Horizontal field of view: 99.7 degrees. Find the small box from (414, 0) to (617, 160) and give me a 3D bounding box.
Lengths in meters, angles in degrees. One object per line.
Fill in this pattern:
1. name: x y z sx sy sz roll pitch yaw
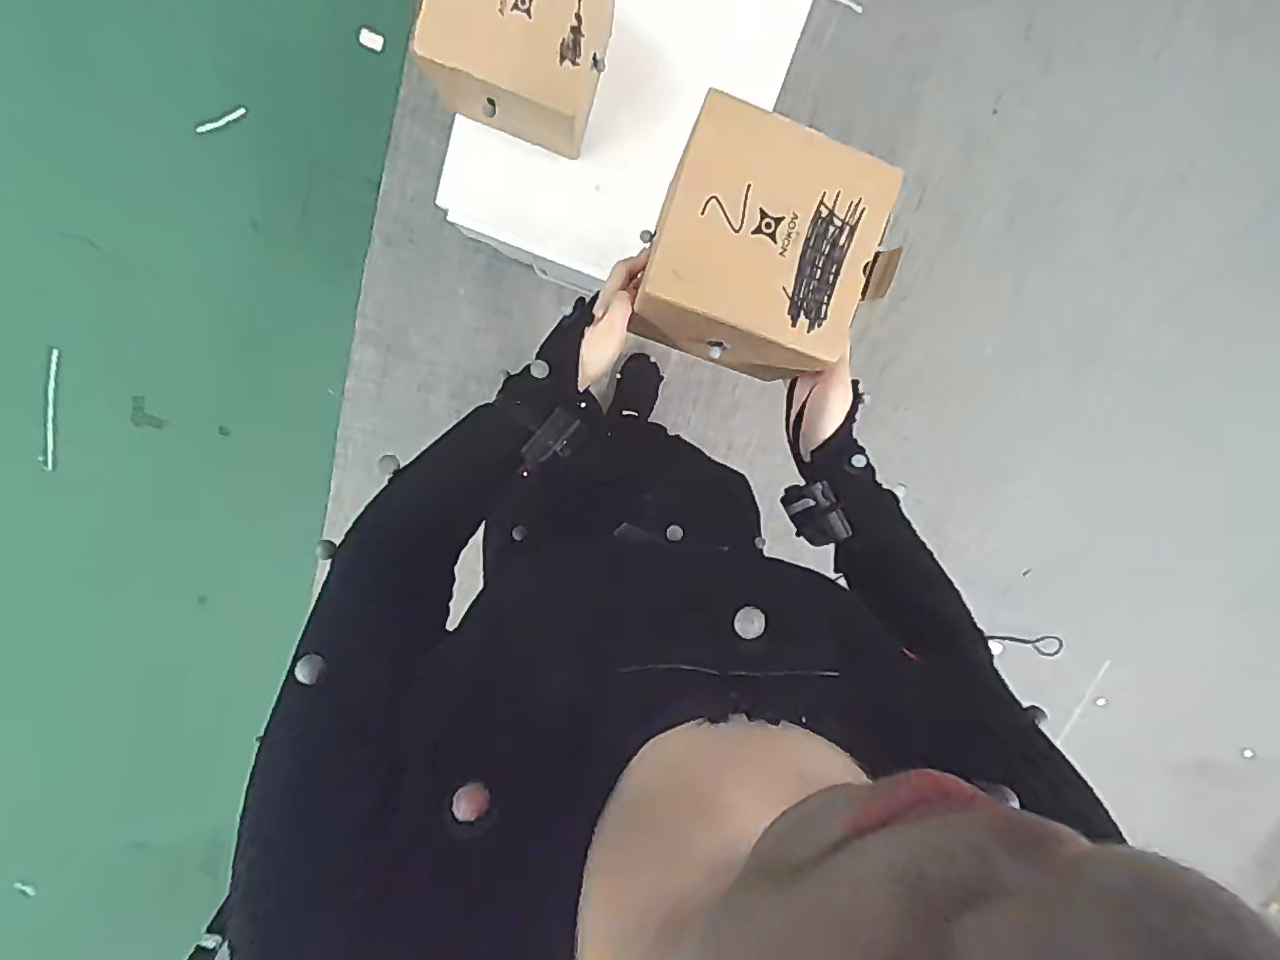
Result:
1. small box: -0.133 -0.502 0.627 0.179 0.176 0.168 16 105 -10
